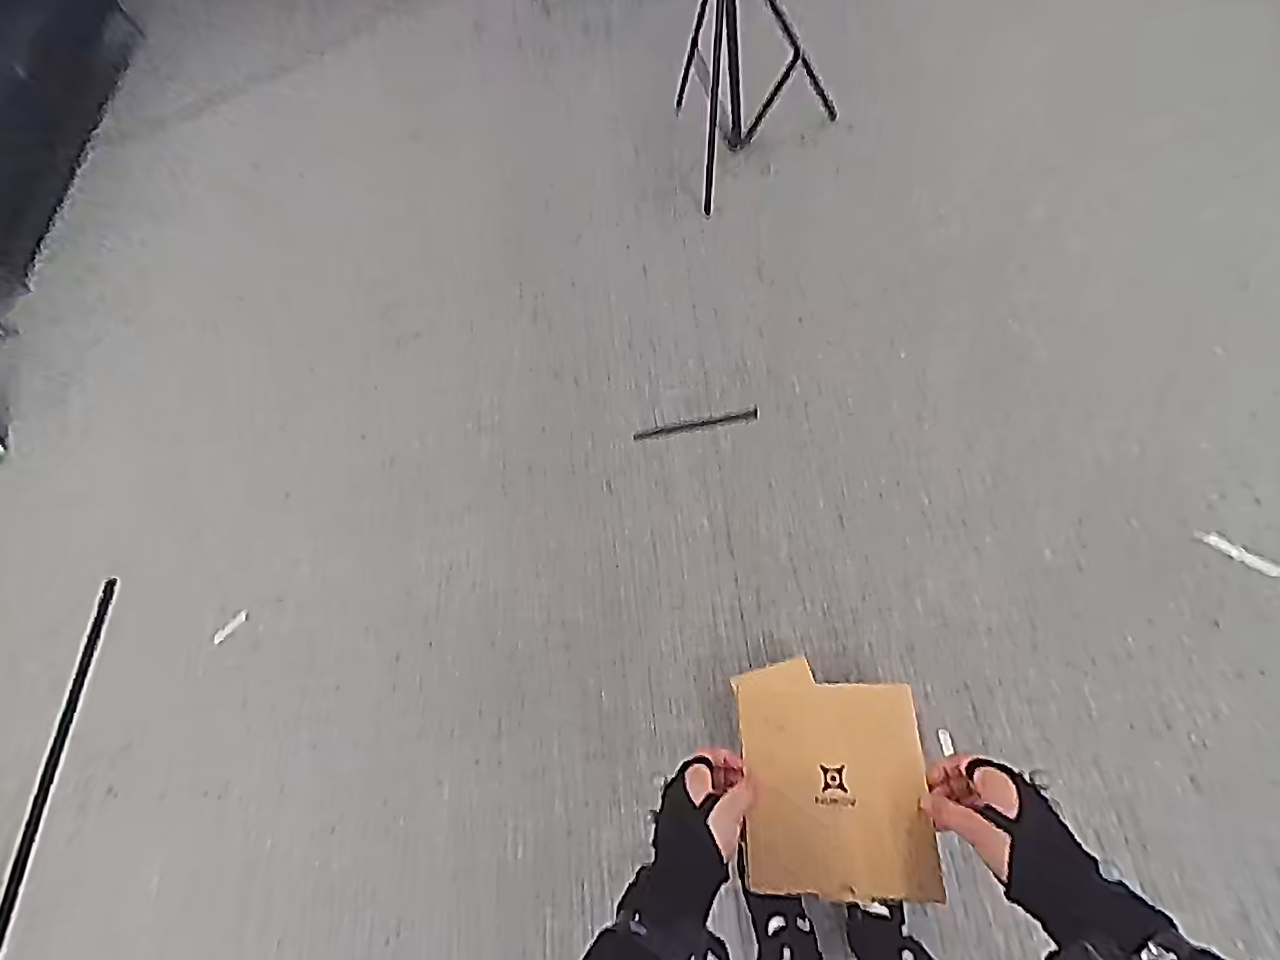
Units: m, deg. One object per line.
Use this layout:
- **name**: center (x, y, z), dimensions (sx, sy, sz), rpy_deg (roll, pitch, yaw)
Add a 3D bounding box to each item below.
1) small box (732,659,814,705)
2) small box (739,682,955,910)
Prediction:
- **small box**: center (0.306, 0.505, 1.167), dimensions (0.168, 0.176, 0.179), rpy_deg (-20, 64, 5)
- **small box**: center (0.191, 0.306, 0.558), dimensions (0.168, 0.176, 0.179), rpy_deg (-3, 68, 8)
